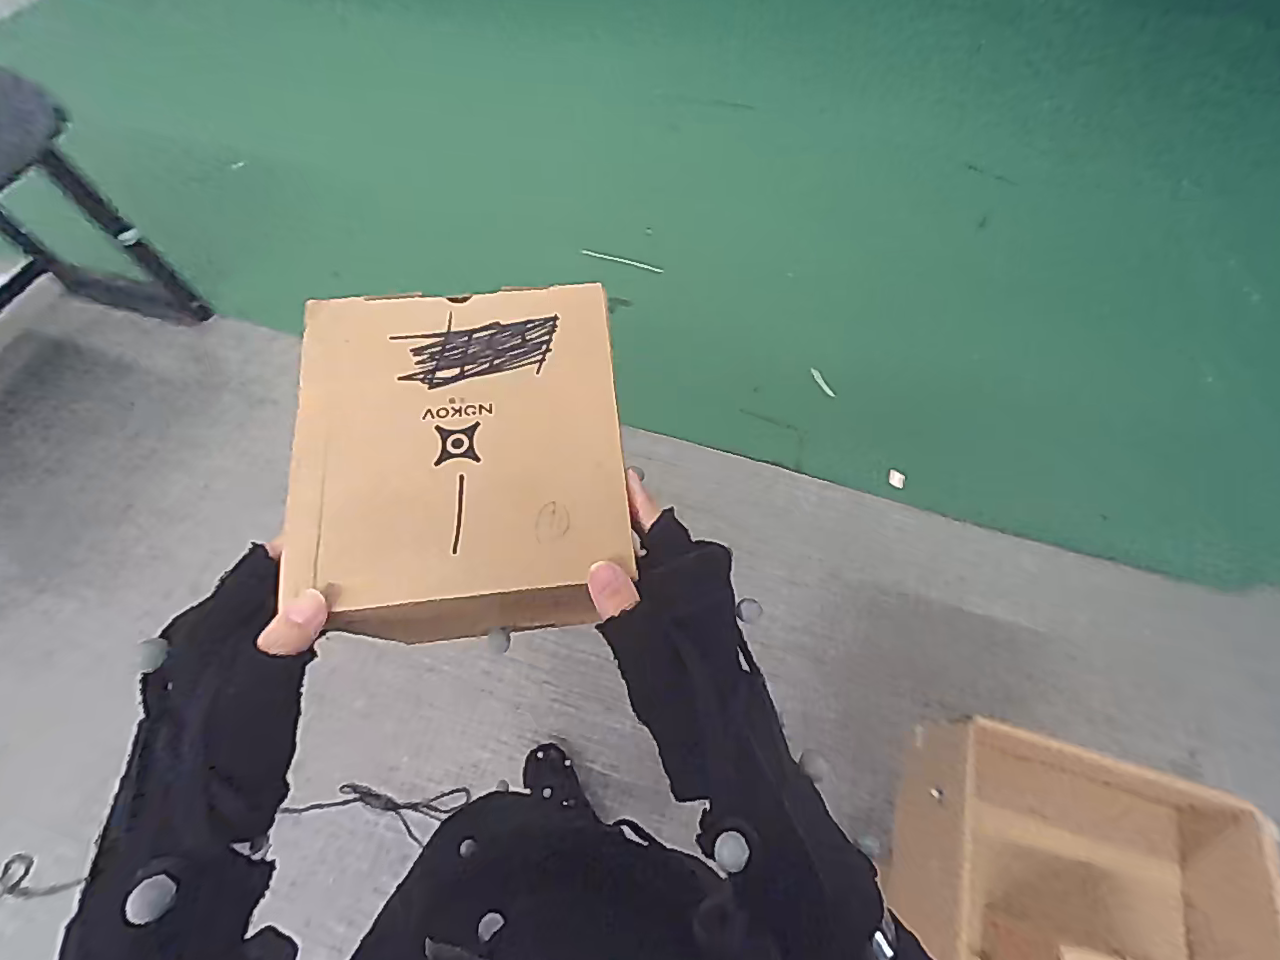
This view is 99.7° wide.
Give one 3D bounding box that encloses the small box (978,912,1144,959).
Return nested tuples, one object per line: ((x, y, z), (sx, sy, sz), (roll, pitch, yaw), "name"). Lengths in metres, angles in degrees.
((0.552, 0.666, 0.663), (0.179, 0.176, 0.168), (12, 63, 5), "small box")

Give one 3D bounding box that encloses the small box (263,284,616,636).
((-0.107, -0.001, 0.360), (0.168, 0.176, 0.179), (-6, 71, -5), "small box")
